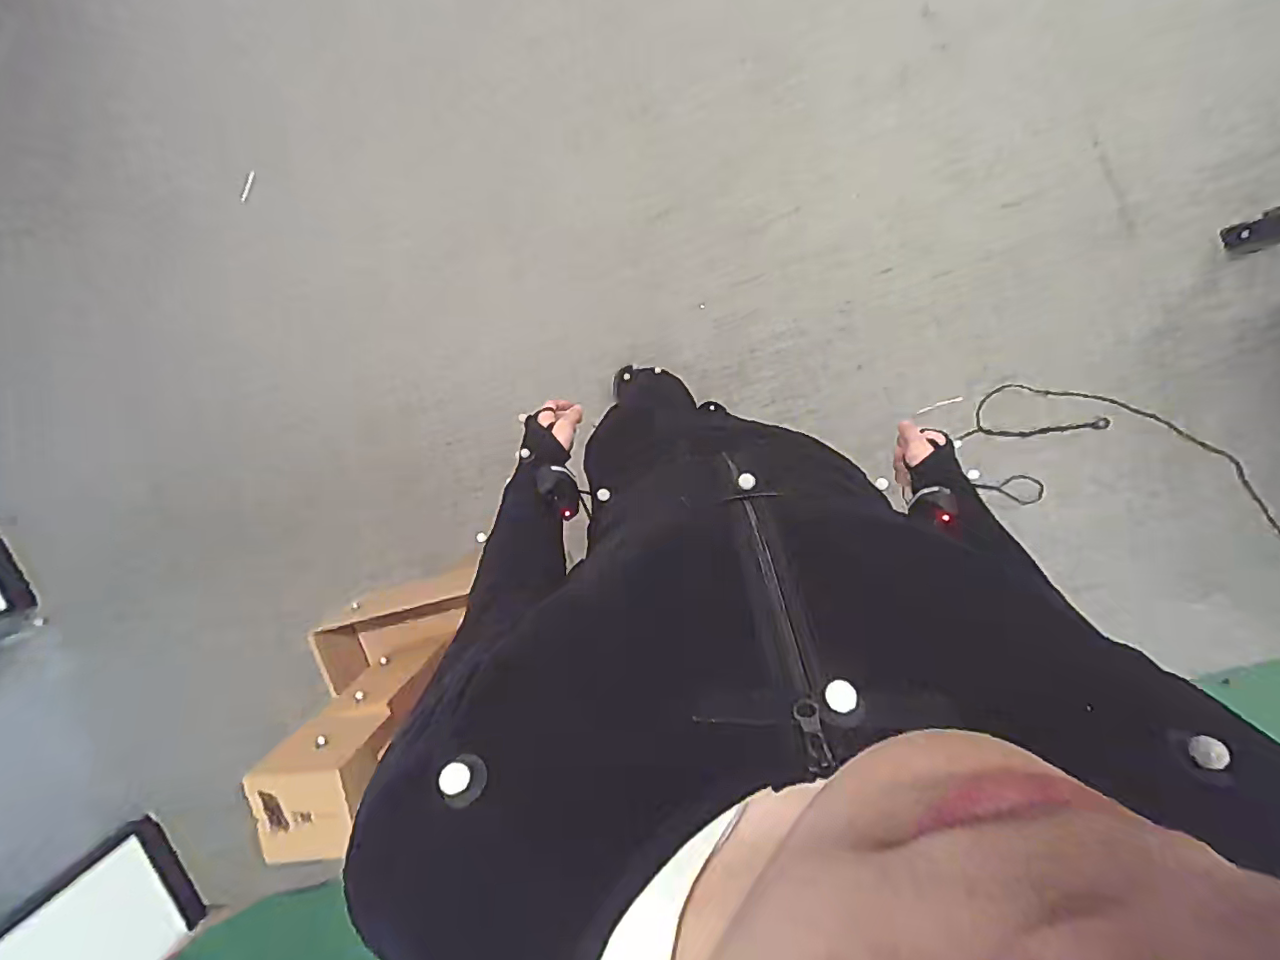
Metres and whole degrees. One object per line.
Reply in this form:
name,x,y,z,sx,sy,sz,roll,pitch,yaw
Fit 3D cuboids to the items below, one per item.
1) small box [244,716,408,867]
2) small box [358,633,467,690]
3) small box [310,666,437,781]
small box,-0.551,0.550,0.972,0.179,0.176,0.168,-8,99,5
small box,-0.522,0.490,1.291,0.179,0.176,0.168,-17,98,8
small box,-0.534,0.518,1.132,0.179,0.176,0.168,-18,97,7
